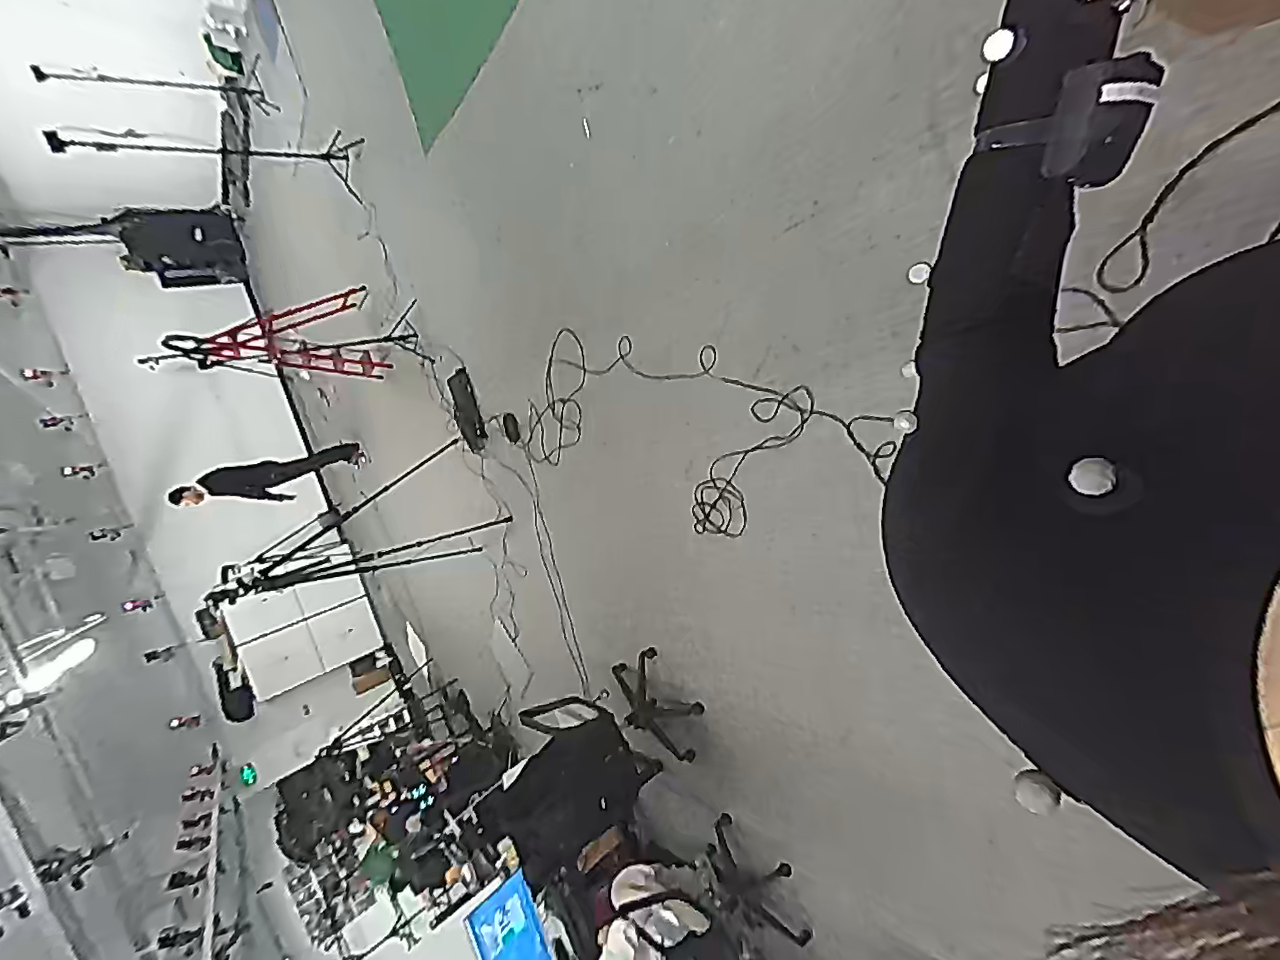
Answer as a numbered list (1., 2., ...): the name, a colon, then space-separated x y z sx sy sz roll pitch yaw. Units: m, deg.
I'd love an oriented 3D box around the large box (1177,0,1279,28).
1. large box: 0.509 -0.444 0.201 0.408 0.320 0.320 18 126 42
